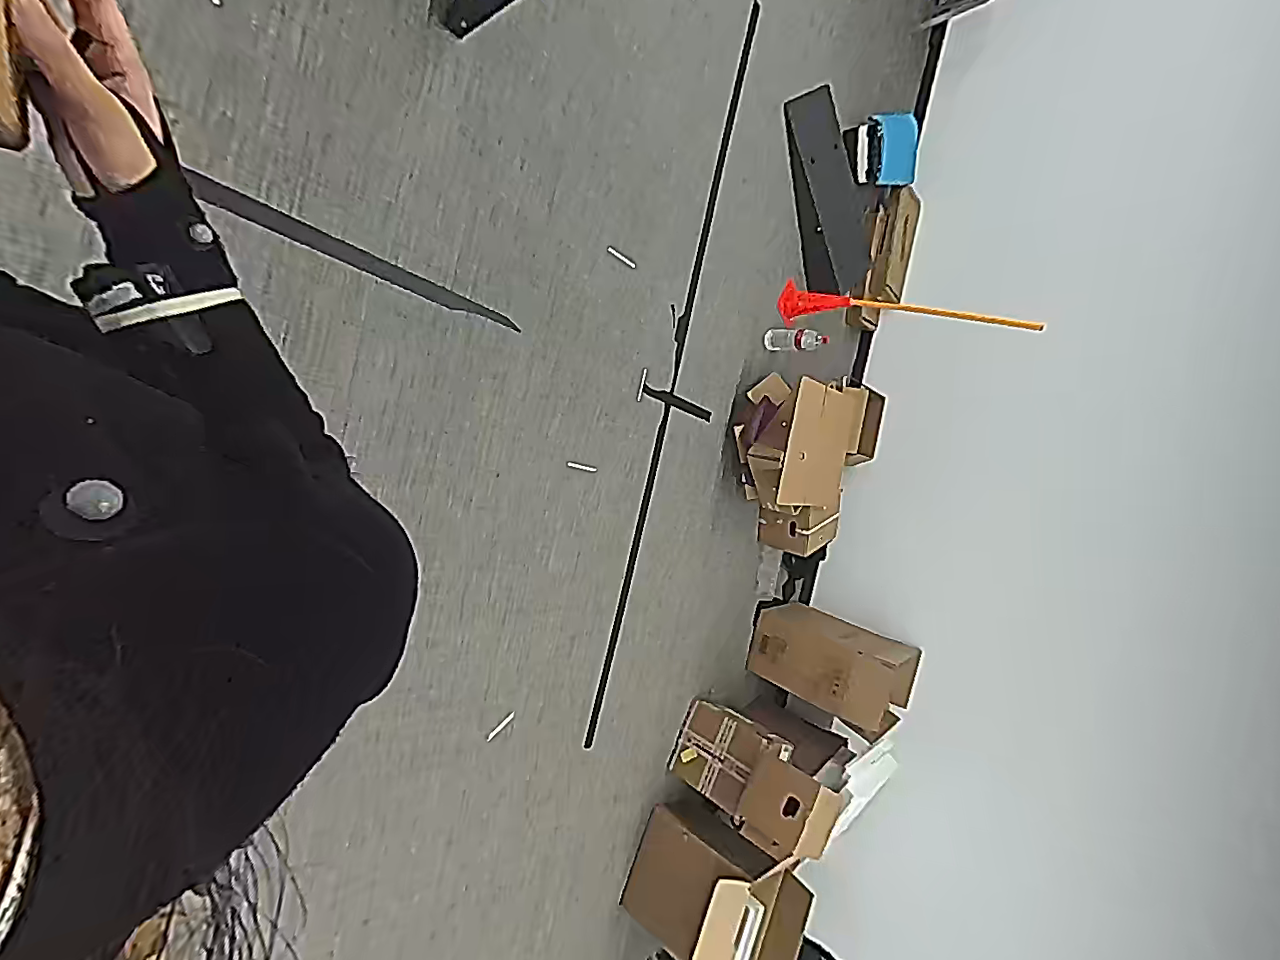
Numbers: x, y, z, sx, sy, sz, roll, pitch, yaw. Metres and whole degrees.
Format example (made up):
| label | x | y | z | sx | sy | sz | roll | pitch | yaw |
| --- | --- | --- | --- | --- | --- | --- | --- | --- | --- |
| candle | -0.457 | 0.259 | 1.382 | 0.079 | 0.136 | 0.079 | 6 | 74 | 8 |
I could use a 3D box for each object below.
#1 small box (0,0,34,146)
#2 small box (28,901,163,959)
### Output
| label | x | y | z | sx | sy | sz | roll | pitch | yaw |
| --- | --- | --- | --- | --- | --- | --- | --- | --- | --- |
| small box | -0.381 | -0.271 | 0.224 | 0.168 | 0.176 | 0.179 | 2 | 104 | -46 |
| small box | -1.057 | 0.986 | 1.053 | 0.179 | 0.176 | 0.168 | -4 | 102 | -47 |
